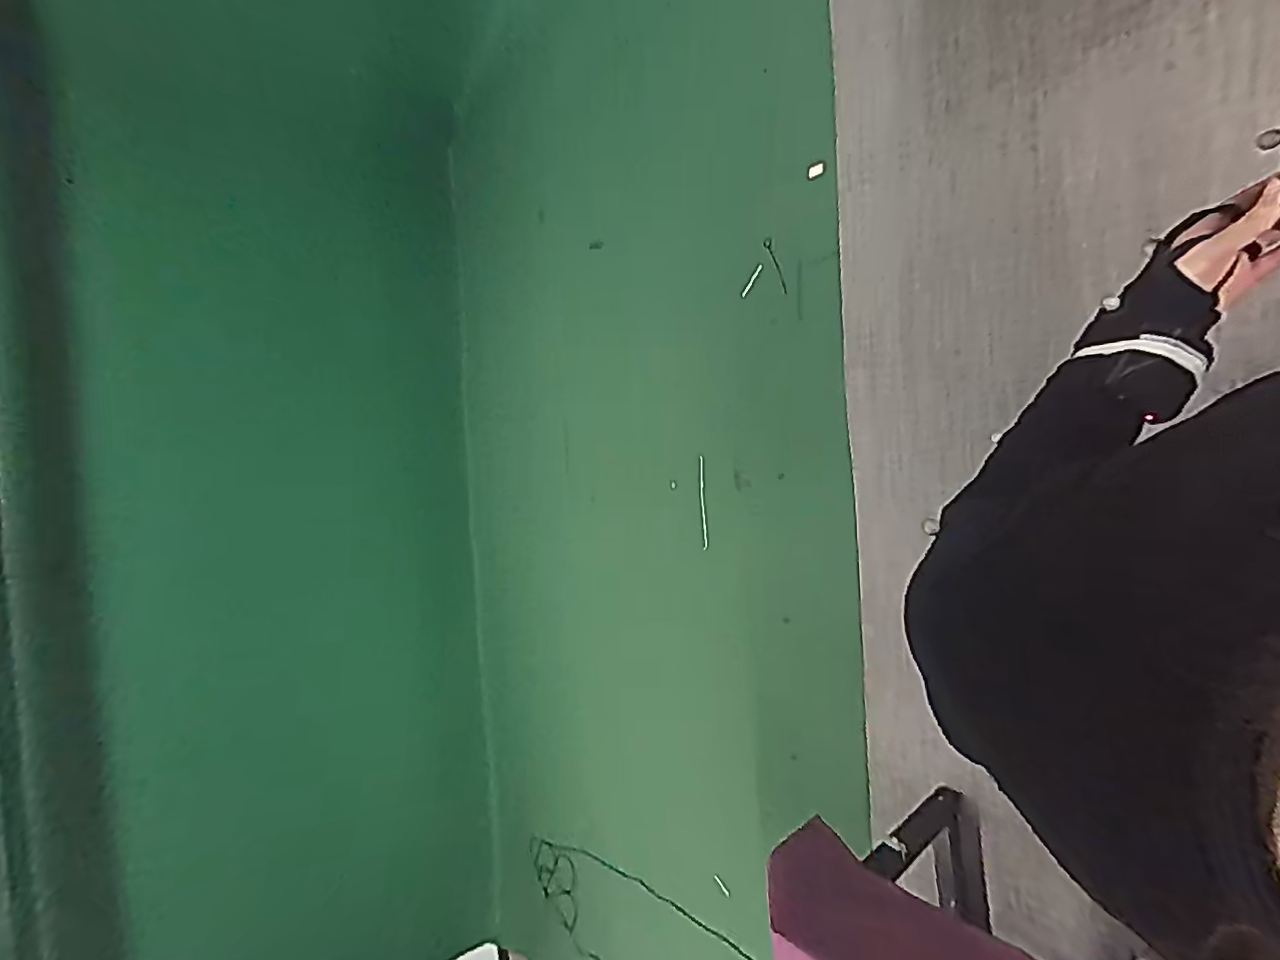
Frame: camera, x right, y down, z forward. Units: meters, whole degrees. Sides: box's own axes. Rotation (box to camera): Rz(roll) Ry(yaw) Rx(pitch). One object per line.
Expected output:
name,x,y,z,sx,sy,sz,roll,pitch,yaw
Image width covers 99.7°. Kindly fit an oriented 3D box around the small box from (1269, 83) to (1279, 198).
small box,0.504,-0.283,0.316,0.168,0.176,0.179,6,98,47
